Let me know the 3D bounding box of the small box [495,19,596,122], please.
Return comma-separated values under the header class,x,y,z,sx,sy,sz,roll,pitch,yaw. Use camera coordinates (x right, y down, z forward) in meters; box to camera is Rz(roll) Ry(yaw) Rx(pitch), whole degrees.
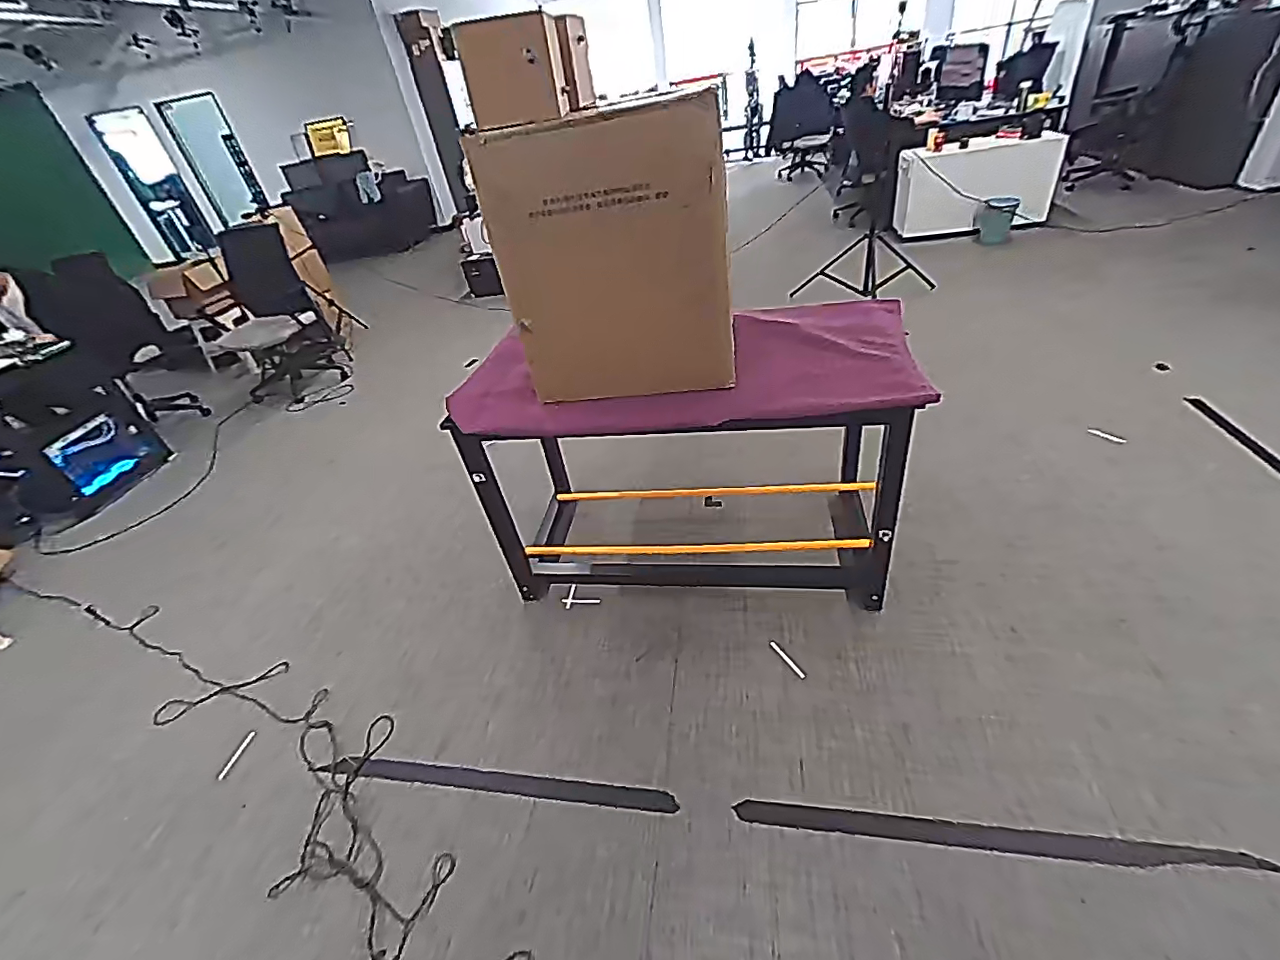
class,x,y,z,sx,sy,sz,roll,pitch,yaw
small box,-0.210,-0.949,1.261,0.168,0.176,0.179,0,37,12
